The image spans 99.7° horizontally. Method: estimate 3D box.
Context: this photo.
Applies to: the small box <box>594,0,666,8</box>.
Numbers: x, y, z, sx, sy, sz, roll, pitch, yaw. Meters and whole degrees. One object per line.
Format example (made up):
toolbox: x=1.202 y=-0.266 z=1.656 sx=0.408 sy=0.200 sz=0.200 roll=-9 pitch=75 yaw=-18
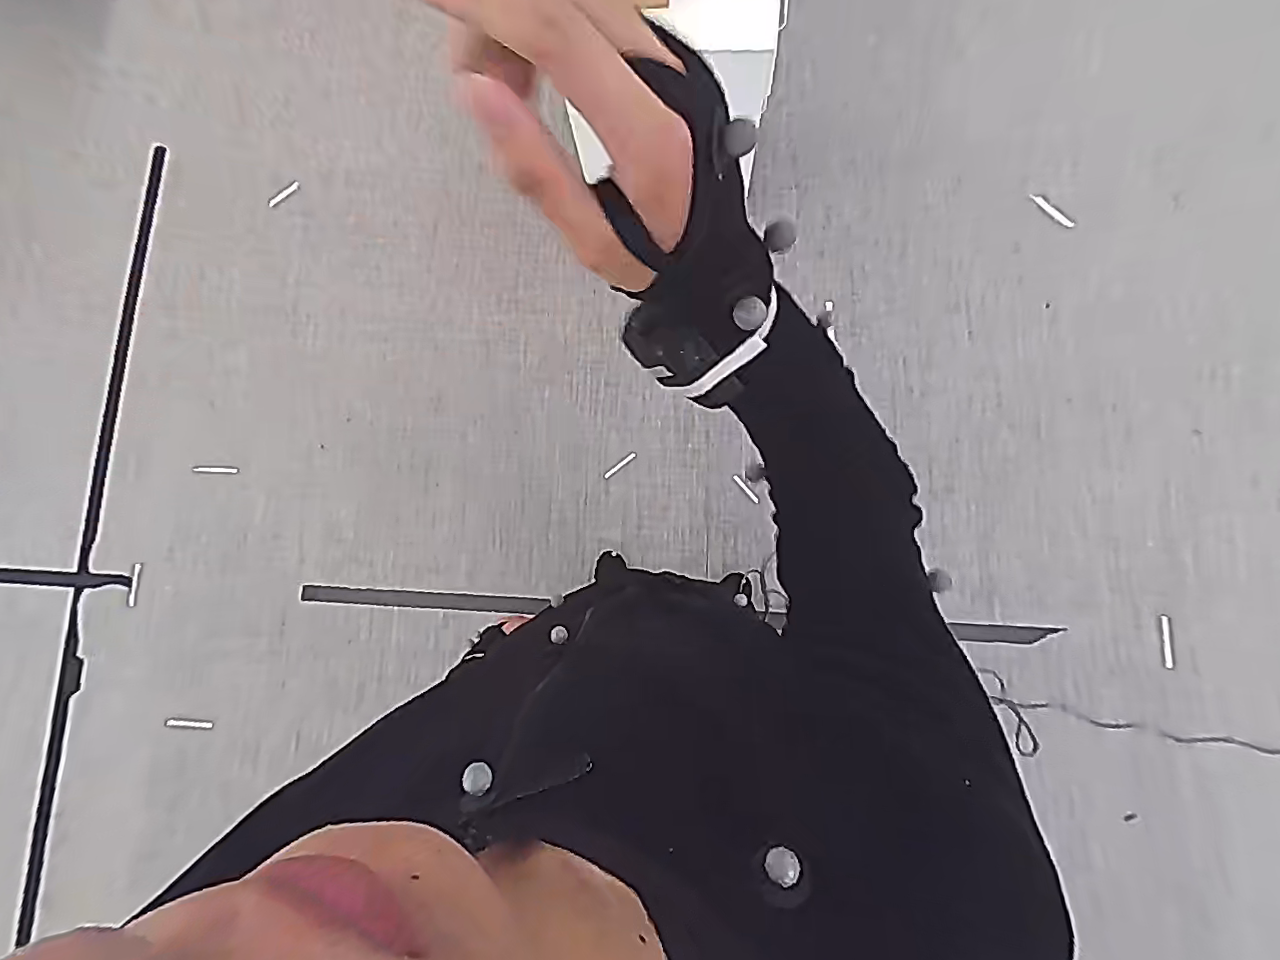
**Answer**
small box: x=-0.024 y=-1.185 z=1.186 sx=0.179 sy=0.176 sz=0.168 roll=2 pitch=82 yaw=4
